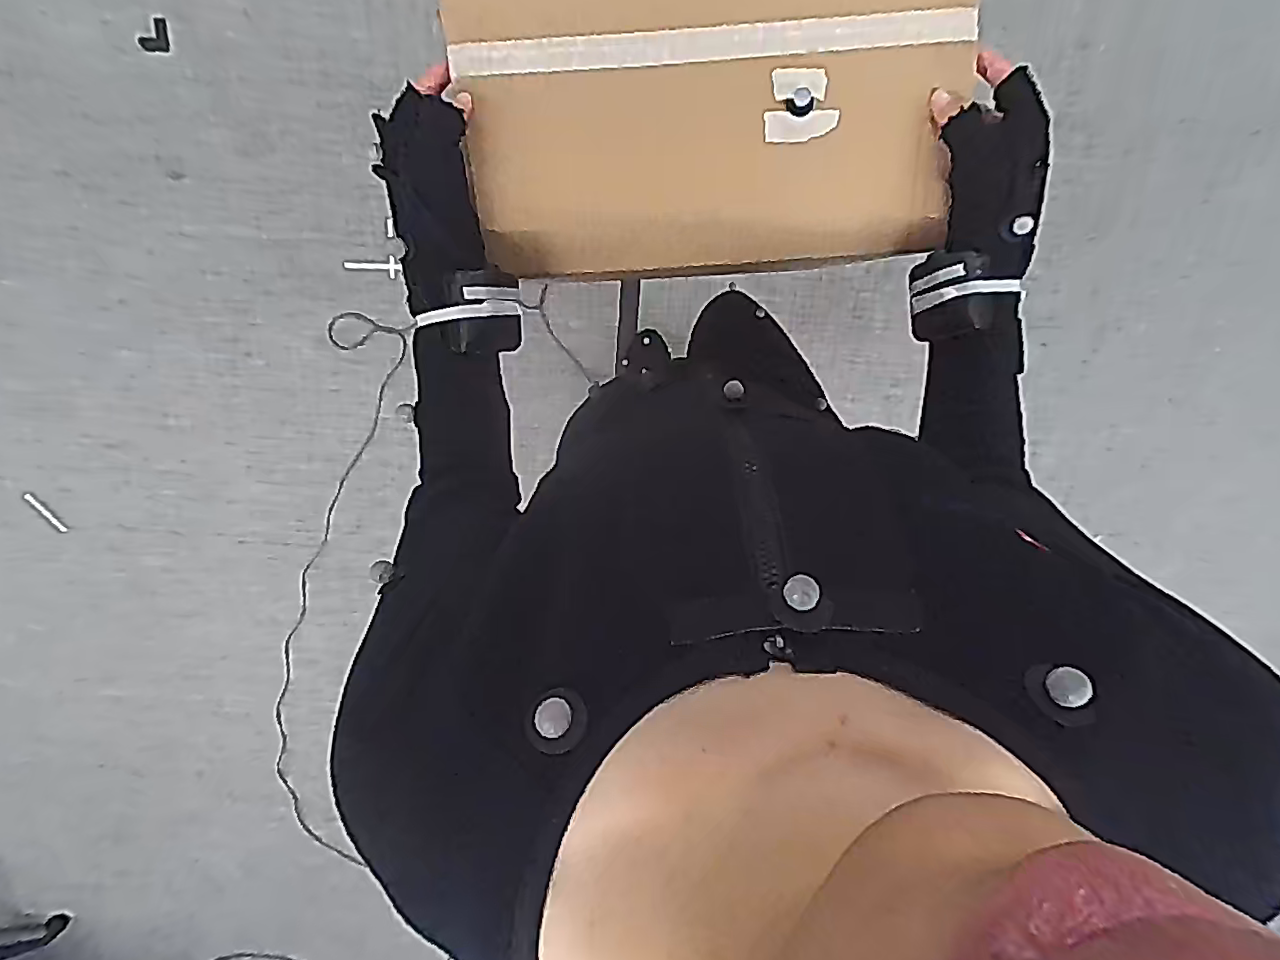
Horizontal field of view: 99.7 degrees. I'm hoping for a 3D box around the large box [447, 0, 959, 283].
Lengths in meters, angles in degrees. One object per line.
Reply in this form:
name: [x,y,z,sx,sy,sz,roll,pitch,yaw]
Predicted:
large box: [0.047,-0.391,0.568,0.408,0.320,0.320,-4,109,0]
